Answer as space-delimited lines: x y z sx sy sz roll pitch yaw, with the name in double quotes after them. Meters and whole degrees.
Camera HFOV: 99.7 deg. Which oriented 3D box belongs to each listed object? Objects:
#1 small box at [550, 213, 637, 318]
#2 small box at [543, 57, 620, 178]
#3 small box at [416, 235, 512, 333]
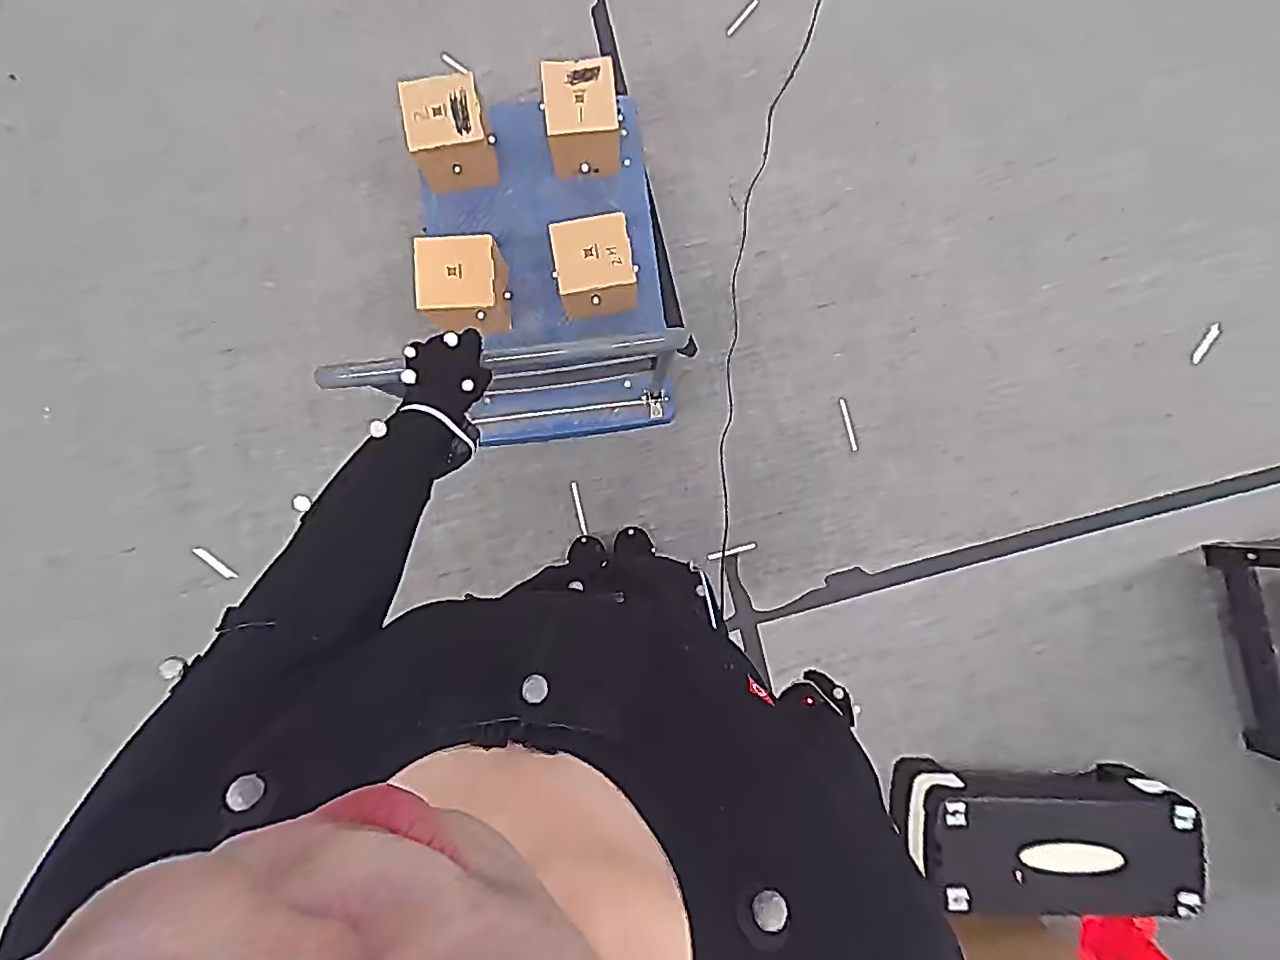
-0.105 -0.500 1.286 0.179 0.176 0.168 -10 87 -1 "small box"
-0.137 -0.869 1.308 0.168 0.176 0.179 -6 88 -1 "small box"
-0.412 -0.456 1.280 0.179 0.176 0.168 -4 86 -3 "small box"
